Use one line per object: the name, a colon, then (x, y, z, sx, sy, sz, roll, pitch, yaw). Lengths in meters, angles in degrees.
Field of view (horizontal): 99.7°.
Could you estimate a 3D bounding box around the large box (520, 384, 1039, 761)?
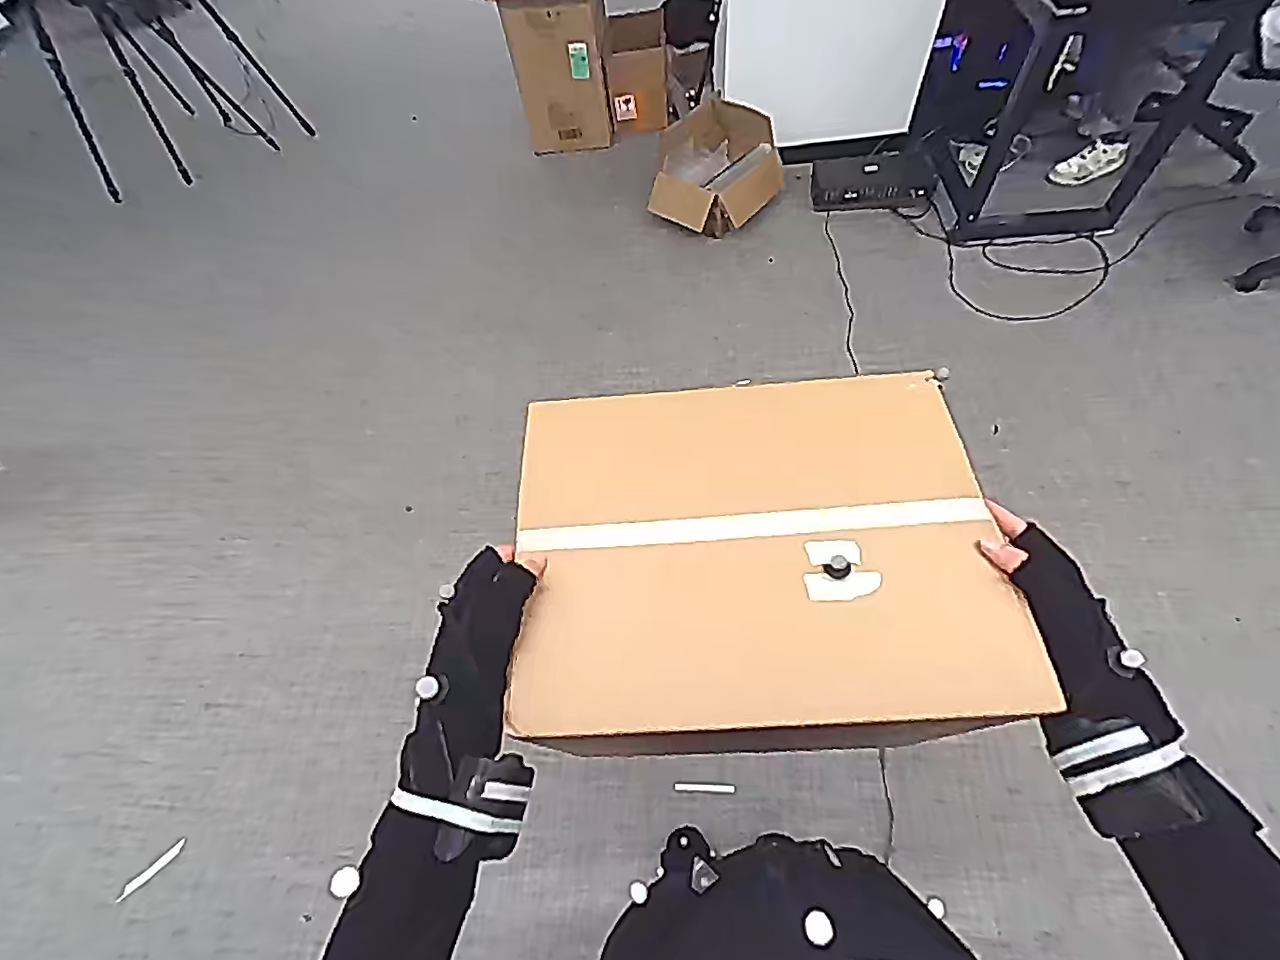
large box: (0.106, 0.124, 0.612, 0.408, 0.320, 0.320, -4, 60, 3)
